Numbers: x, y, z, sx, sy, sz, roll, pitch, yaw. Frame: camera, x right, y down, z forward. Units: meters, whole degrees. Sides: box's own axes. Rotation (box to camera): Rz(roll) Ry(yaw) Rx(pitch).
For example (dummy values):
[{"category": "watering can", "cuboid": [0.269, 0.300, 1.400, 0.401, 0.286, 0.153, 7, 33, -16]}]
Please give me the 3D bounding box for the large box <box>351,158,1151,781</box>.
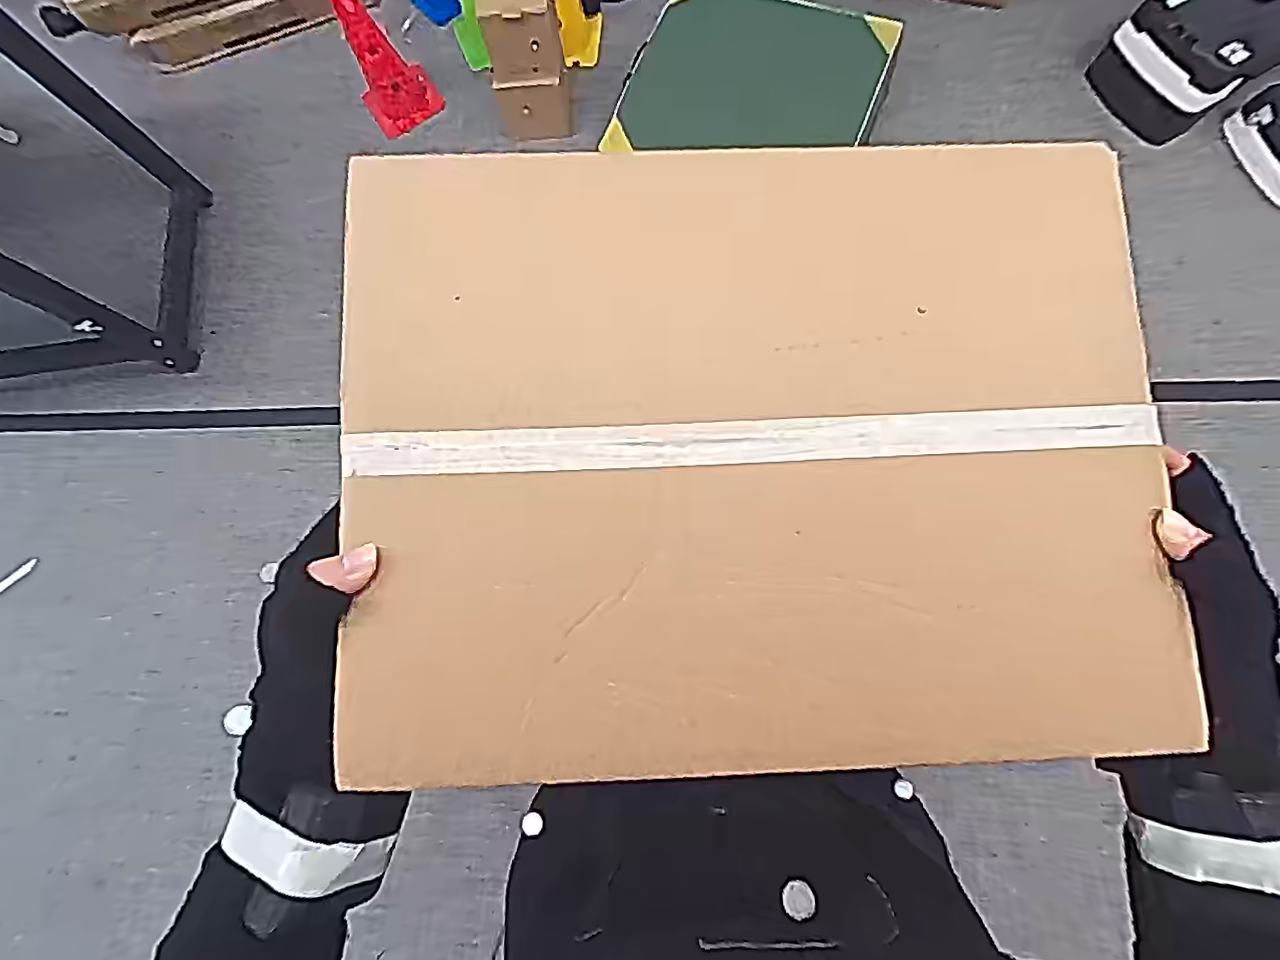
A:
[{"category": "large box", "cuboid": [0.050, -0.001, 0.429, 0.408, 0.320, 0.320, -3, 83, -1]}]
